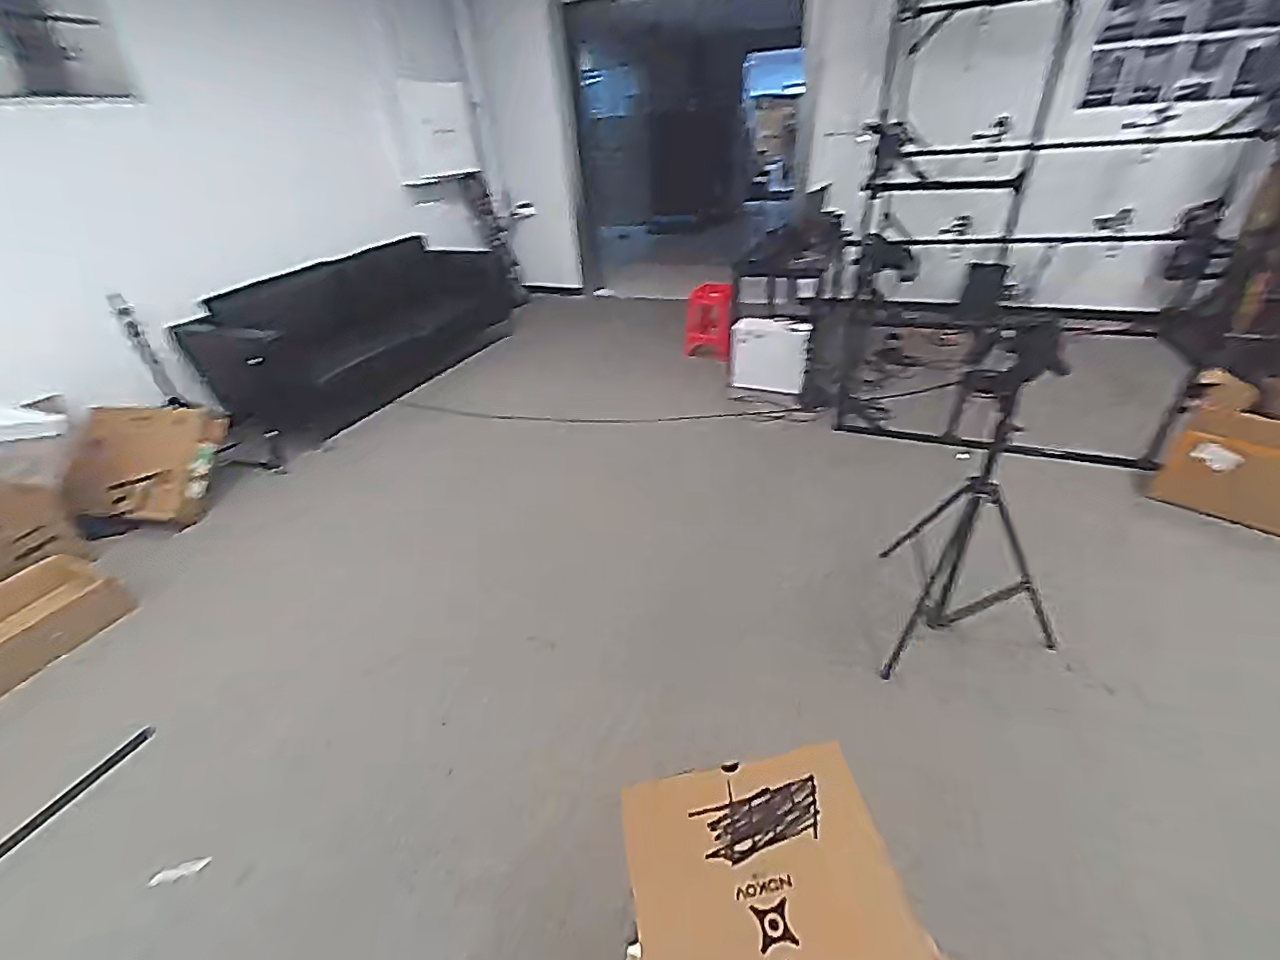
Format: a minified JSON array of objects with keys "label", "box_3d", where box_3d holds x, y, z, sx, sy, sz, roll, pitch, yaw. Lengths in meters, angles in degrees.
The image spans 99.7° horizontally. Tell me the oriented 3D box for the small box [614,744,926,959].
[{"label":"small box","box_3d":[0.081,0.324,0.379,0.168,0.176,0.179,-11,40,-5]}]
